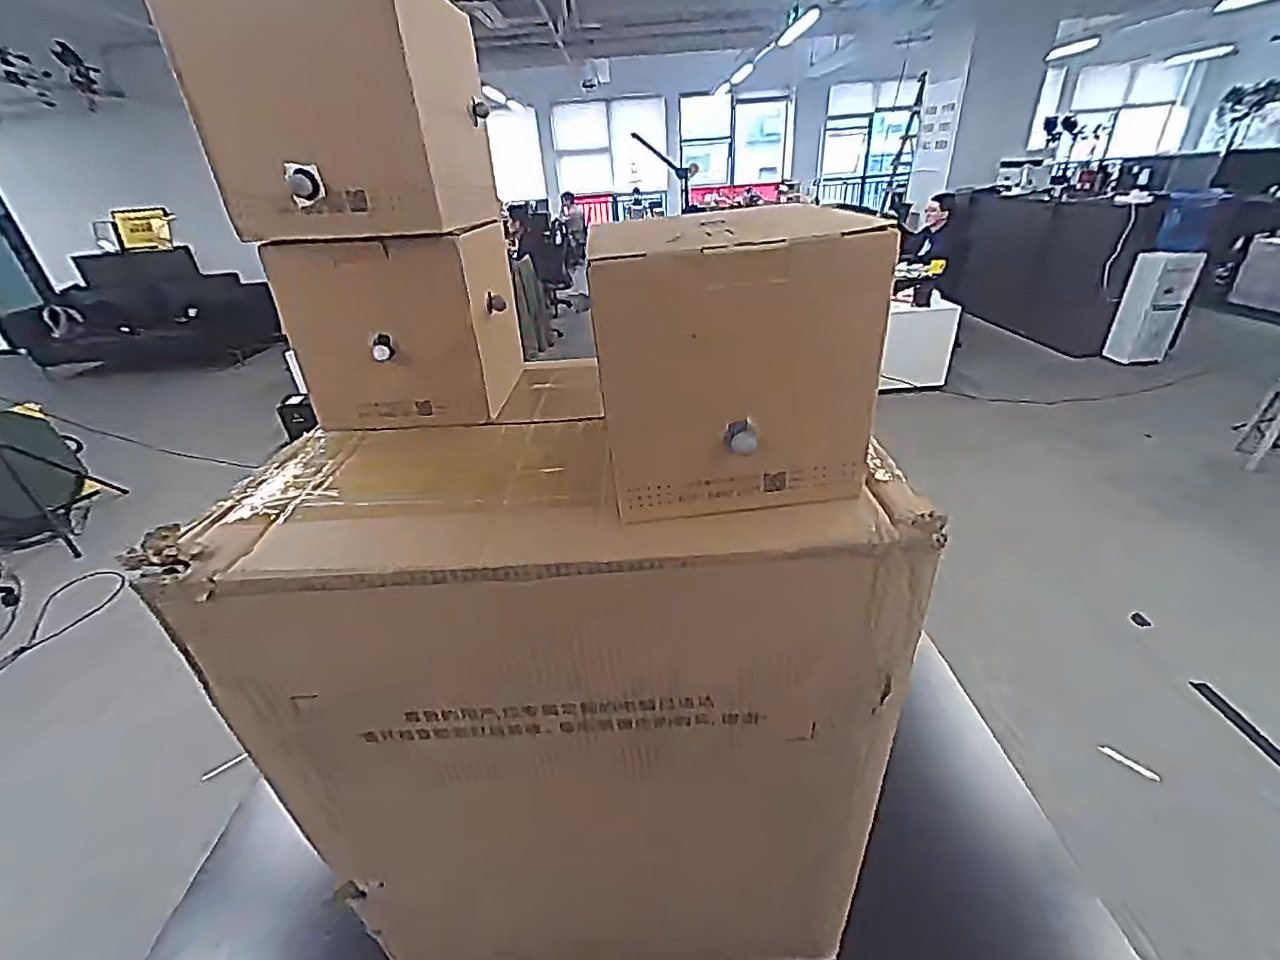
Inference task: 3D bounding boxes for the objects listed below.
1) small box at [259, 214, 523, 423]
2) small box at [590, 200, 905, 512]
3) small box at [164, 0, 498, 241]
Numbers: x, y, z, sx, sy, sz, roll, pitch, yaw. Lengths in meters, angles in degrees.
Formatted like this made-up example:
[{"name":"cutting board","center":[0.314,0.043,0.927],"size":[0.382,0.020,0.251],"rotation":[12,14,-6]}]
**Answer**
[{"name":"small box","center":[-0.221,-0.162,0.541],"size":[0.168,0.176,0.179],"rotation":[-3,30,1]},{"name":"small box","center":[0.057,-0.096,0.387],"size":[0.168,0.176,0.179],"rotation":[-7,31,-1]},{"name":"small box","center":[-0.226,-0.297,0.447],"size":[0.168,0.176,0.179],"rotation":[-3,29,3]}]
